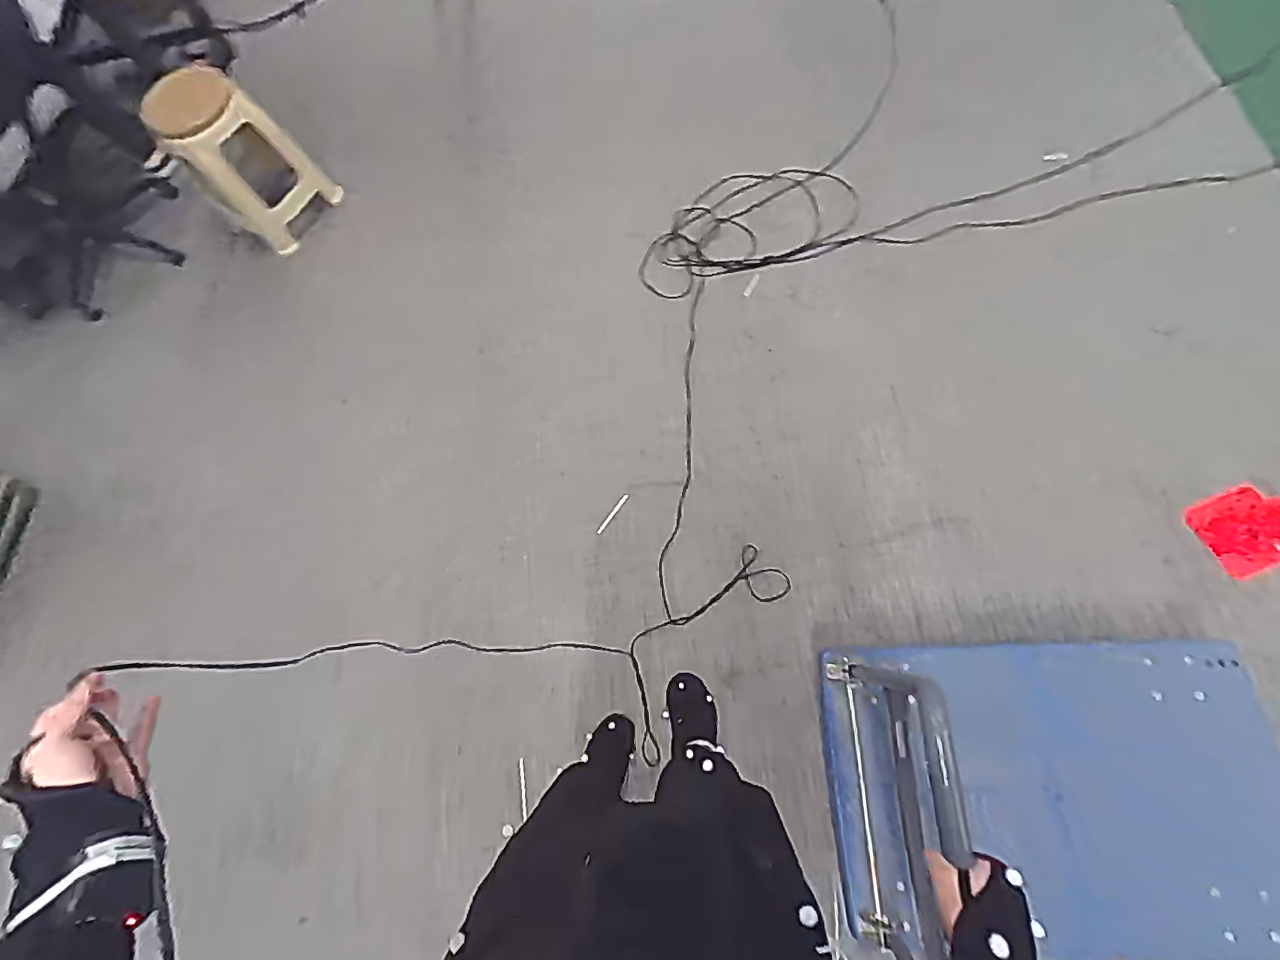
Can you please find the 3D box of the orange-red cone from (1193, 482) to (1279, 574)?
[{"bbox_3d":[1.509,0.064,1.198,0.198,0.360,0.199,-23,69,-1],"label":"orange-red cone"}]
